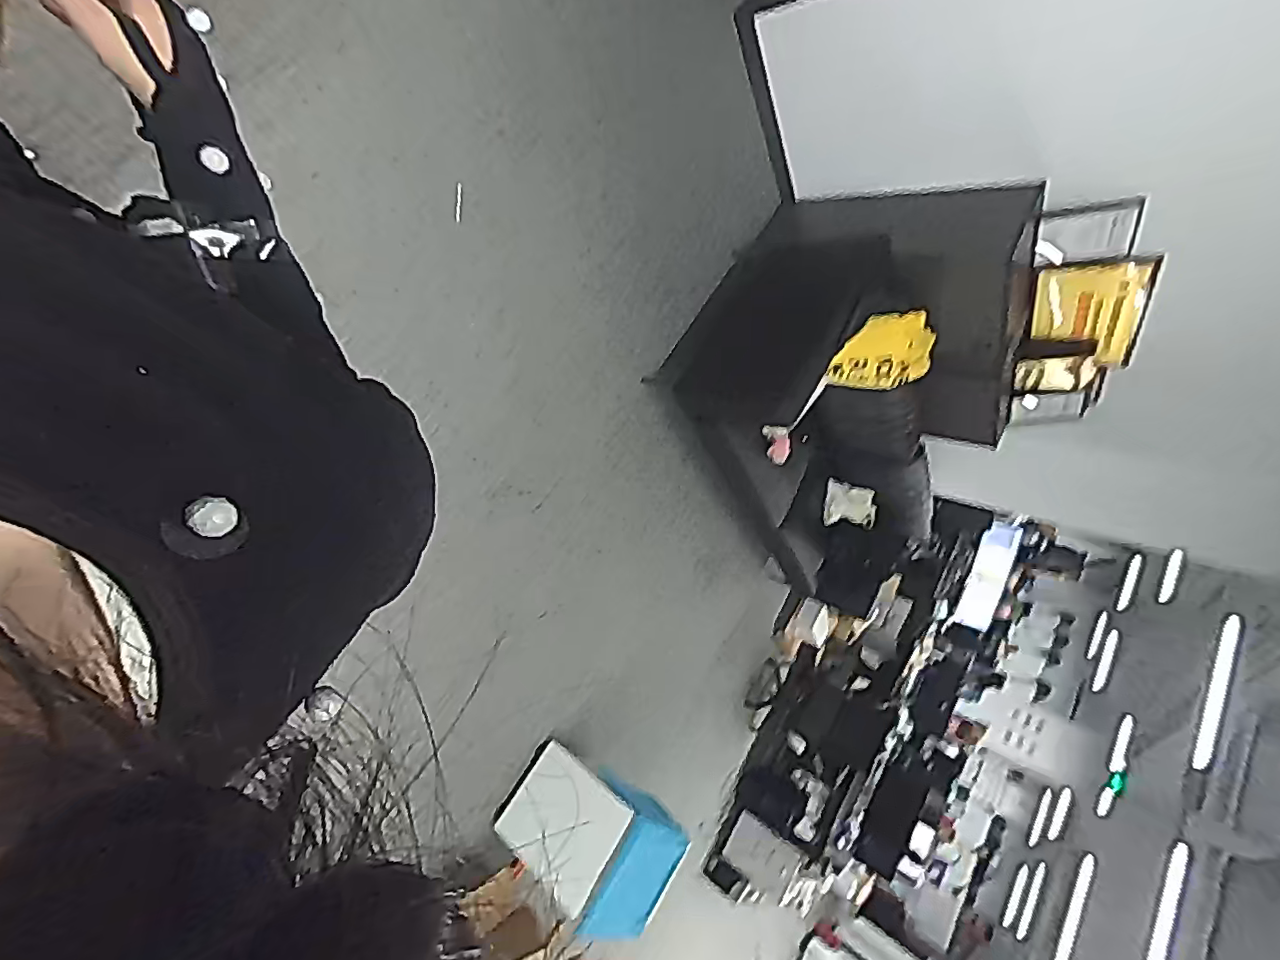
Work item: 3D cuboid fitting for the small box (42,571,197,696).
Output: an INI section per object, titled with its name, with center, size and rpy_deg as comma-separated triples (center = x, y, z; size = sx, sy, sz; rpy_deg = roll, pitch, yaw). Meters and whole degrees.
[small box]
center = -1.098, 0.317, 1.138
size = 0.179, 0.176, 0.168
rpy_deg = -57, 139, -17
